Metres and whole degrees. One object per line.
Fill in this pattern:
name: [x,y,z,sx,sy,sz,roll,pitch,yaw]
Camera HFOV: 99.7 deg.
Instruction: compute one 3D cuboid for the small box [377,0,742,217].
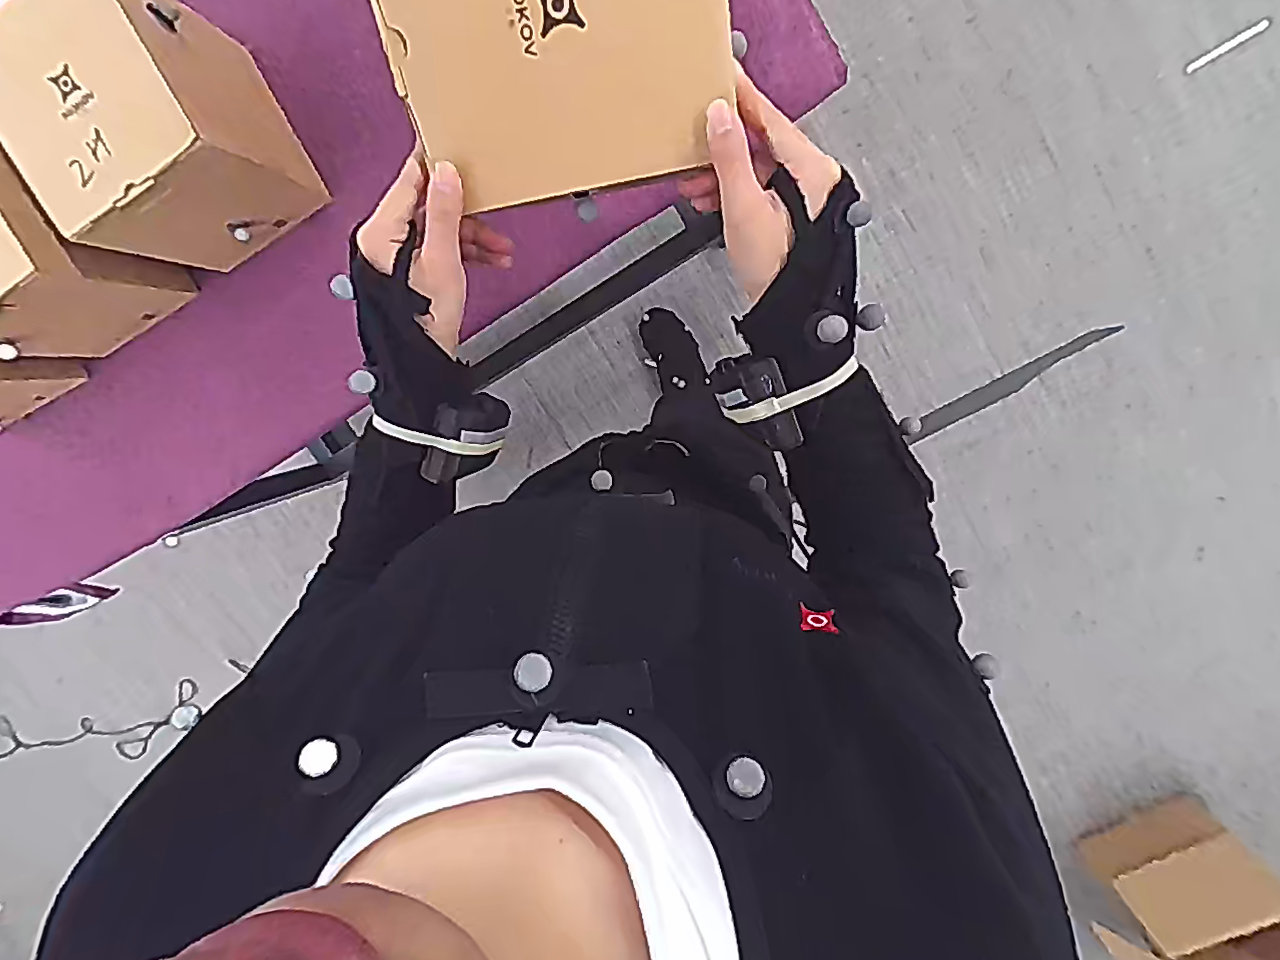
small box: [-0.038,-0.272,0.336,0.179,0.176,0.168,-7,118,9]
